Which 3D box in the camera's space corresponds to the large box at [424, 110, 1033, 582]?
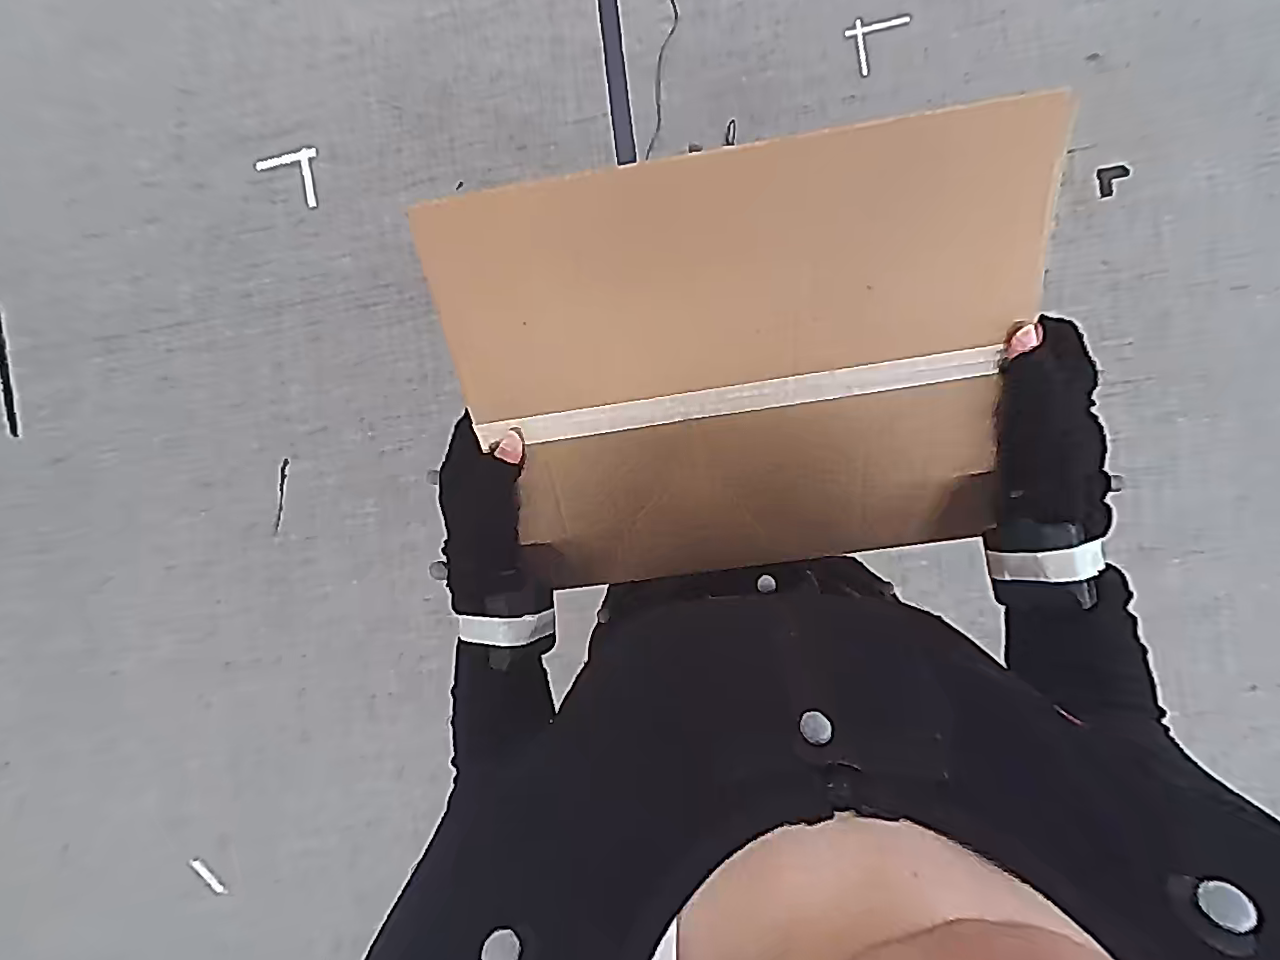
[{"bbox_3d":[0.073,-0.138,0.546,0.408,0.320,0.320,-8,118,4],"label":"large box"}]
